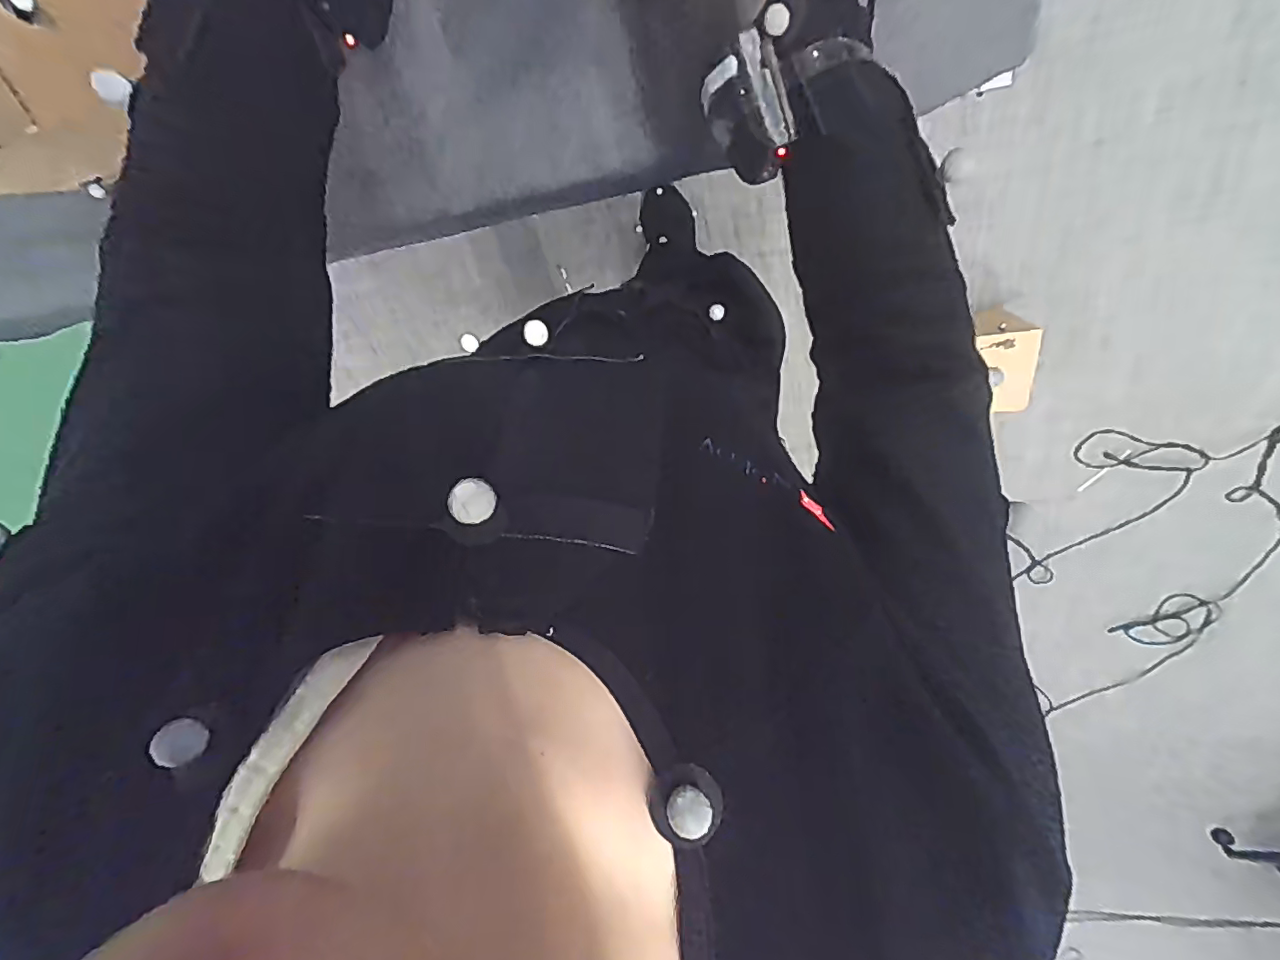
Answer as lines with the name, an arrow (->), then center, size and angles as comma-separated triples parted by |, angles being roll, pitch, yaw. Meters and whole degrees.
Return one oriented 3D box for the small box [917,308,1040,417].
small box -> 0.717, -0.255, 1.169 | 0.168, 0.176, 0.179 | -5, 122, 10
